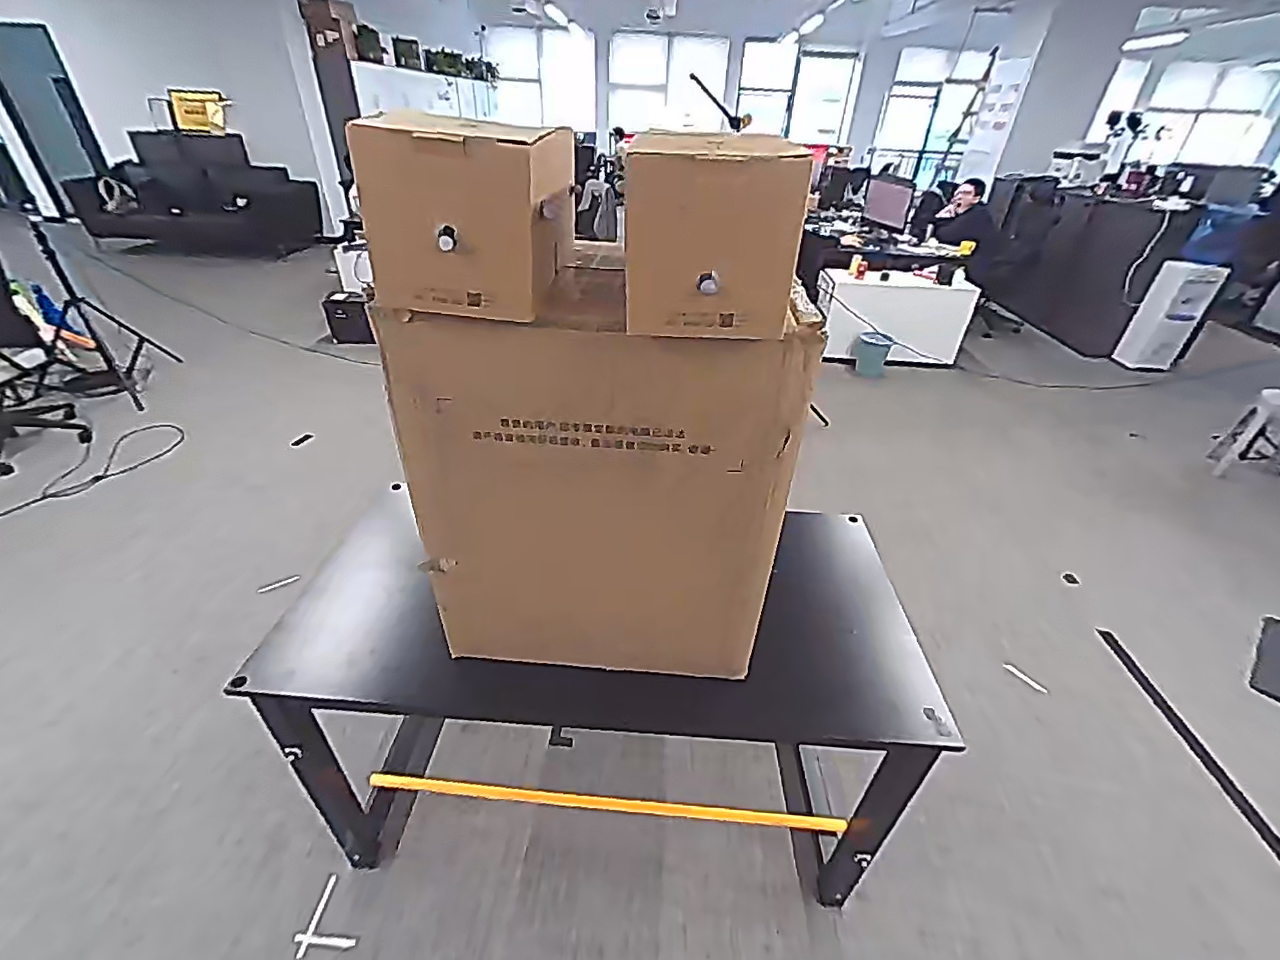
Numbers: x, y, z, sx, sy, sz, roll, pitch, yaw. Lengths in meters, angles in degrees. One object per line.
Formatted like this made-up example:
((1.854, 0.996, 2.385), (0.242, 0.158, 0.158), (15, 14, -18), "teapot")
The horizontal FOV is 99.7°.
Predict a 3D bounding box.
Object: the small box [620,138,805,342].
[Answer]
((0.066, -0.263, 0.585), (0.168, 0.176, 0.179), (1, 37, 2), "small box")

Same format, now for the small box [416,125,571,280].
((-0.190, -0.391, 0.758), (0.168, 0.176, 0.179), (3, 34, 0), "small box")
